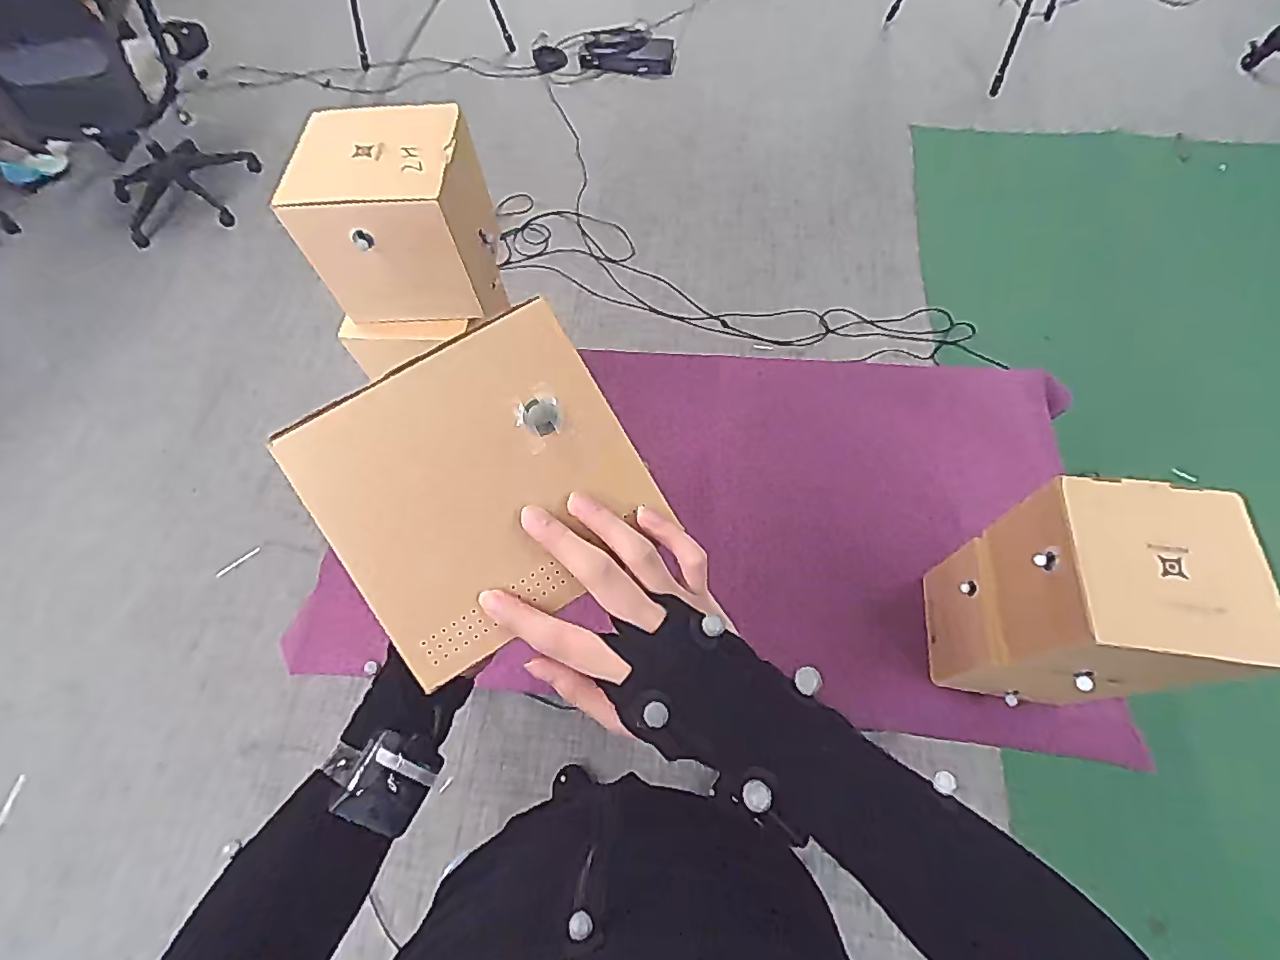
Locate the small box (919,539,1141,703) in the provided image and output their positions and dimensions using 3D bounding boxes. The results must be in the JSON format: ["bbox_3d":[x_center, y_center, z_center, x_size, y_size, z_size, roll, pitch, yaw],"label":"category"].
[{"bbox_3d":[0.505,0.197,0.731,0.179,0.176,0.168,8,62,6],"label":"small box"}]

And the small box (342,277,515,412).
[{"bbox_3d":[-0.291,-0.215,0.790,0.168,0.176,0.179,2,63,3],"label":"small box"}]

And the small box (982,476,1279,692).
[{"bbox_3d":[0.502,0.118,0.589,0.168,0.176,0.179,7,64,8],"label":"small box"}]

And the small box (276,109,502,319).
[{"bbox_3d":[-0.282,-0.311,0.654,0.179,0.176,0.168,-1,63,2],"label":"small box"}]
